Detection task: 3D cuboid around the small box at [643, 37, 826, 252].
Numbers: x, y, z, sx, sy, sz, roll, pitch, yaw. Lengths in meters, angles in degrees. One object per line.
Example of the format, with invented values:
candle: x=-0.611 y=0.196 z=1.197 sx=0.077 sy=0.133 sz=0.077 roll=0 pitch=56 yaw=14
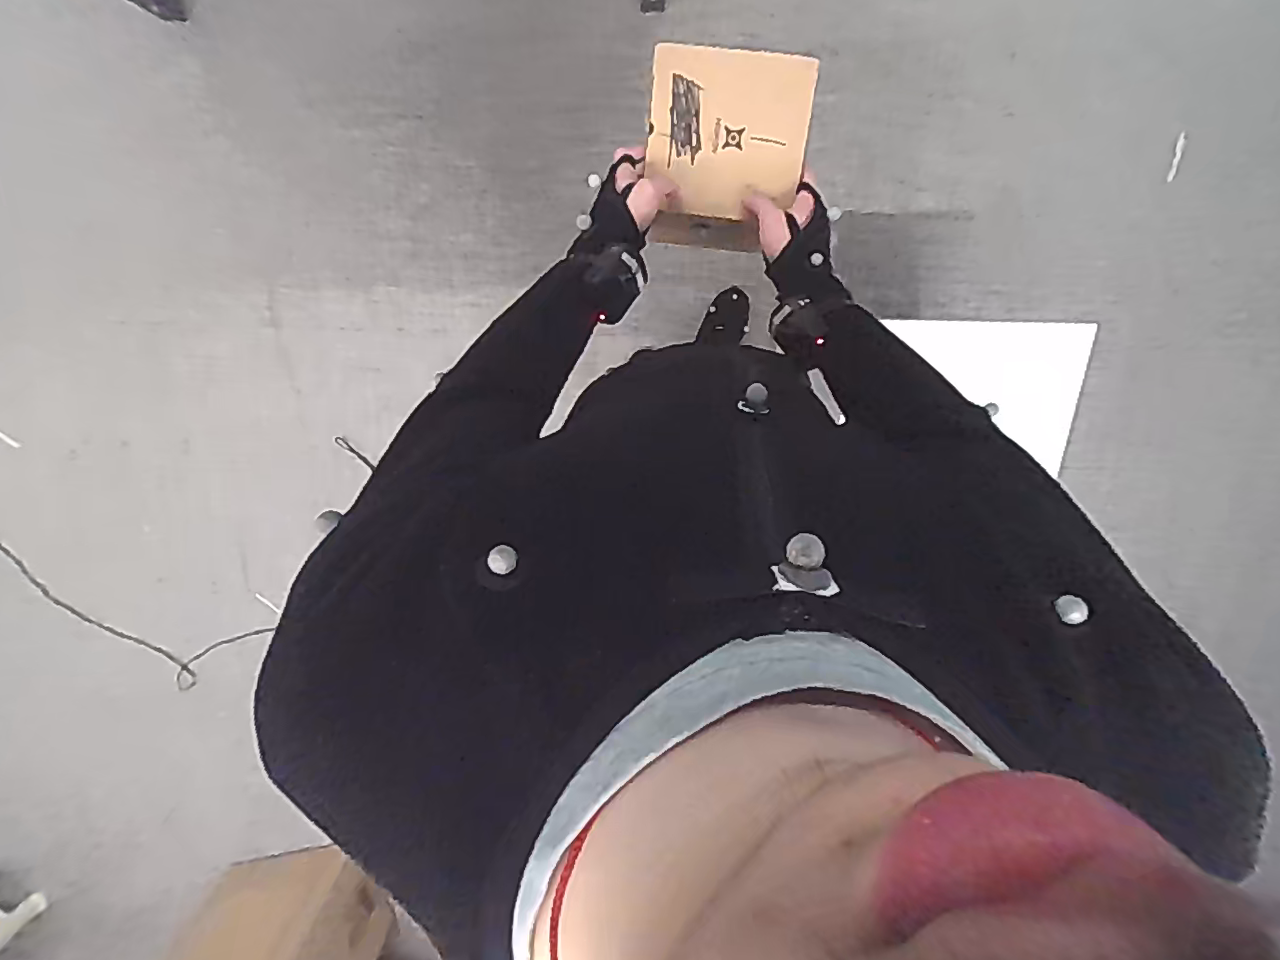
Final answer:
small box: x=0.098 y=-0.380 z=0.645 sx=0.179 sy=0.176 sz=0.168 roll=5 pitch=102 yaw=-1
